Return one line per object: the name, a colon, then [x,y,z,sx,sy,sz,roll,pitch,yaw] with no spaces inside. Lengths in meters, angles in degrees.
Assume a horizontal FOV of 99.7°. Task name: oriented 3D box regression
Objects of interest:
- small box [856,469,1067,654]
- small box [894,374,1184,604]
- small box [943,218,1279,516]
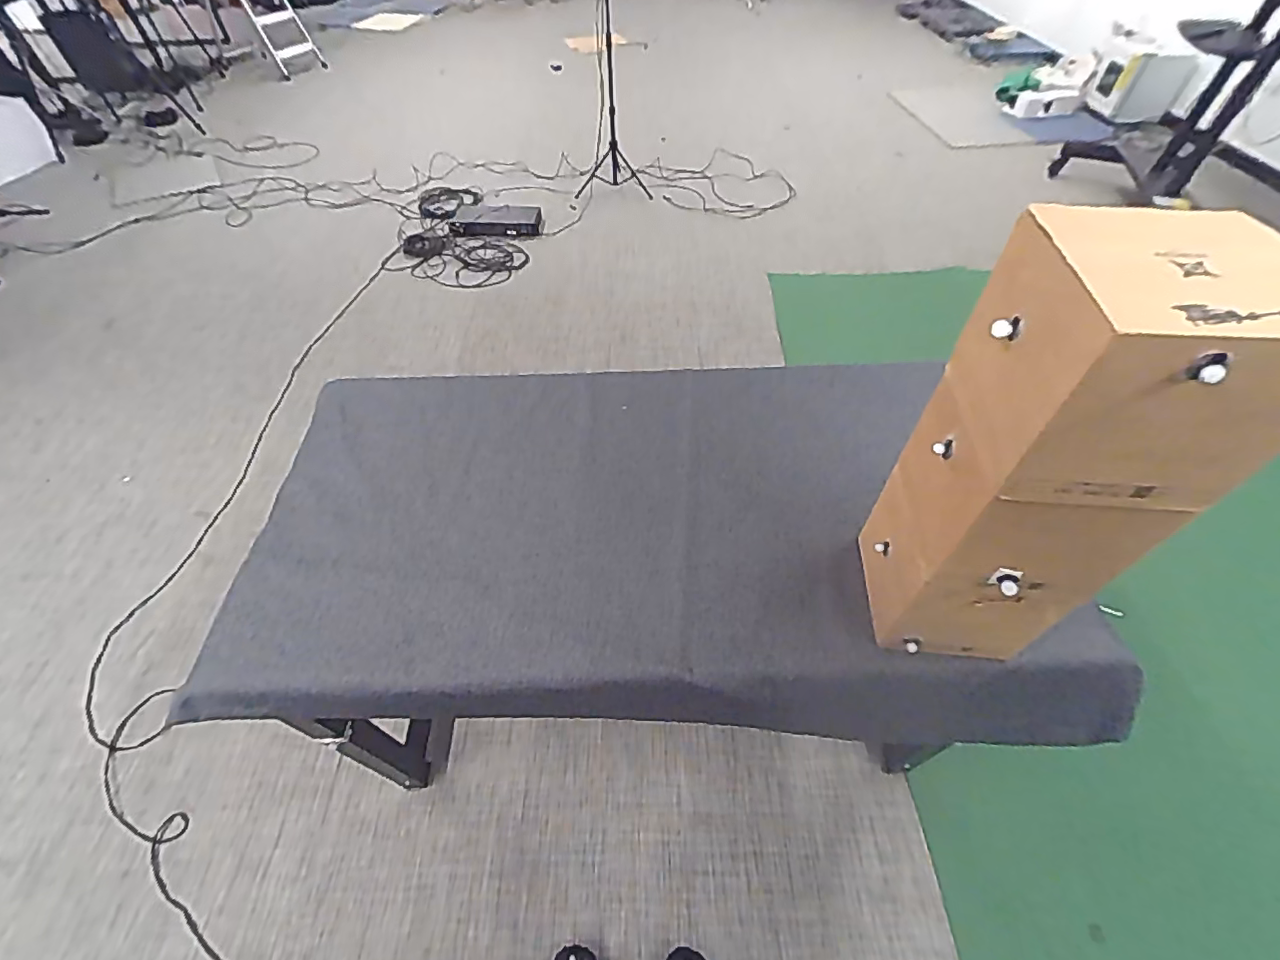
small box: [0.397,0.109,0.704,0.168,0.176,0.179,4,50,5]
small box: [0.391,0.009,0.577,0.168,0.176,0.179,4,51,6]
small box: [0.381,-0.094,0.450,0.168,0.176,0.179,4,50,6]
